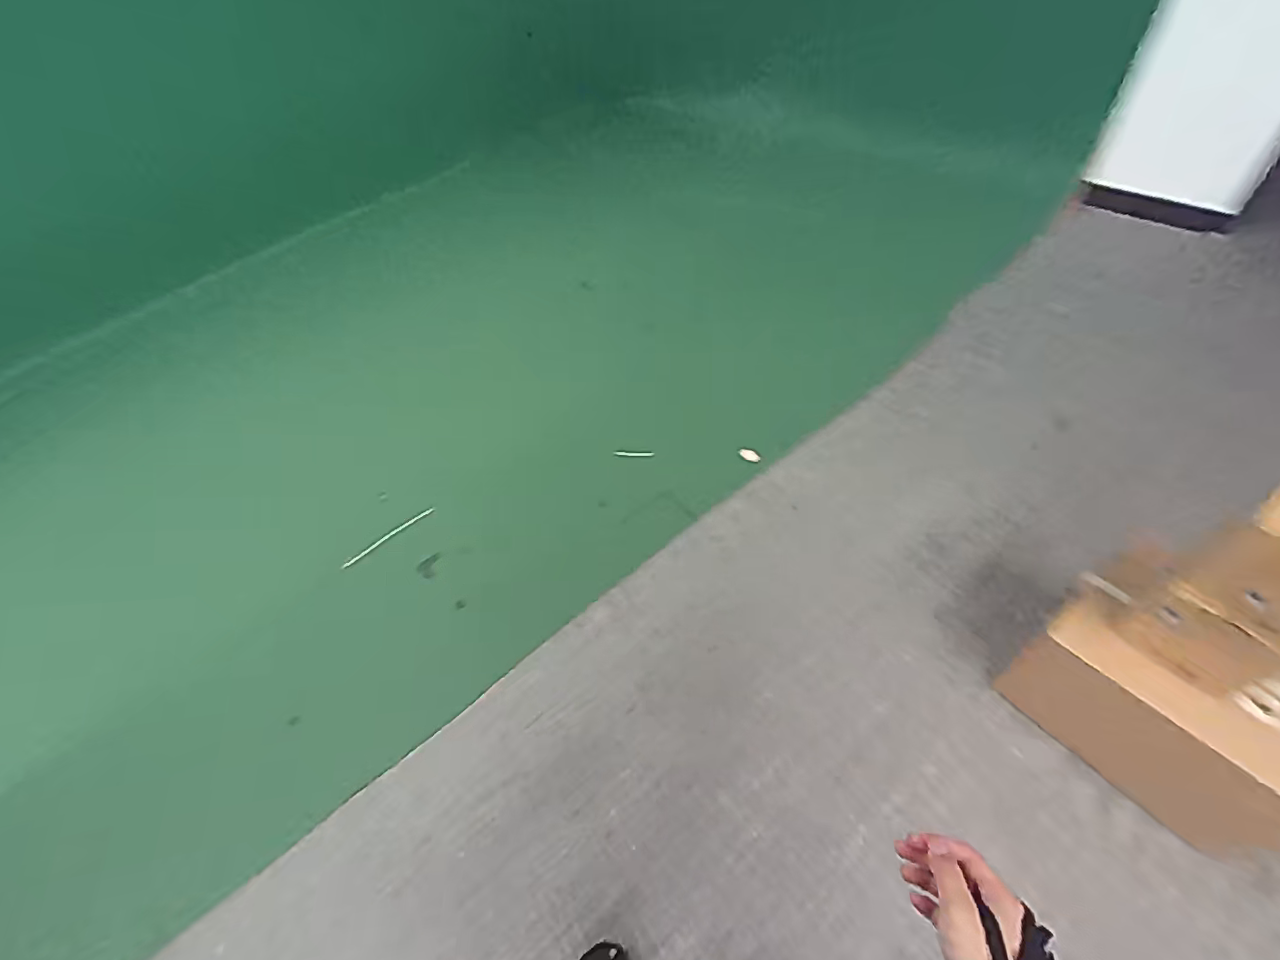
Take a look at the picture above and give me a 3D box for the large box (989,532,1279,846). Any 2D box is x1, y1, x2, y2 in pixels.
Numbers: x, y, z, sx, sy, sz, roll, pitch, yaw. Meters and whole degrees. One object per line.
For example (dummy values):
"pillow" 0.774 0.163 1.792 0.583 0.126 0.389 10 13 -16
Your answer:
"large box" 0.973 0.379 1.005 0.320 0.320 0.408 -38 56 -16

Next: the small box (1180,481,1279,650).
"small box" 0.891 0.101 0.715 0.179 0.176 0.168 -33 54 -14
